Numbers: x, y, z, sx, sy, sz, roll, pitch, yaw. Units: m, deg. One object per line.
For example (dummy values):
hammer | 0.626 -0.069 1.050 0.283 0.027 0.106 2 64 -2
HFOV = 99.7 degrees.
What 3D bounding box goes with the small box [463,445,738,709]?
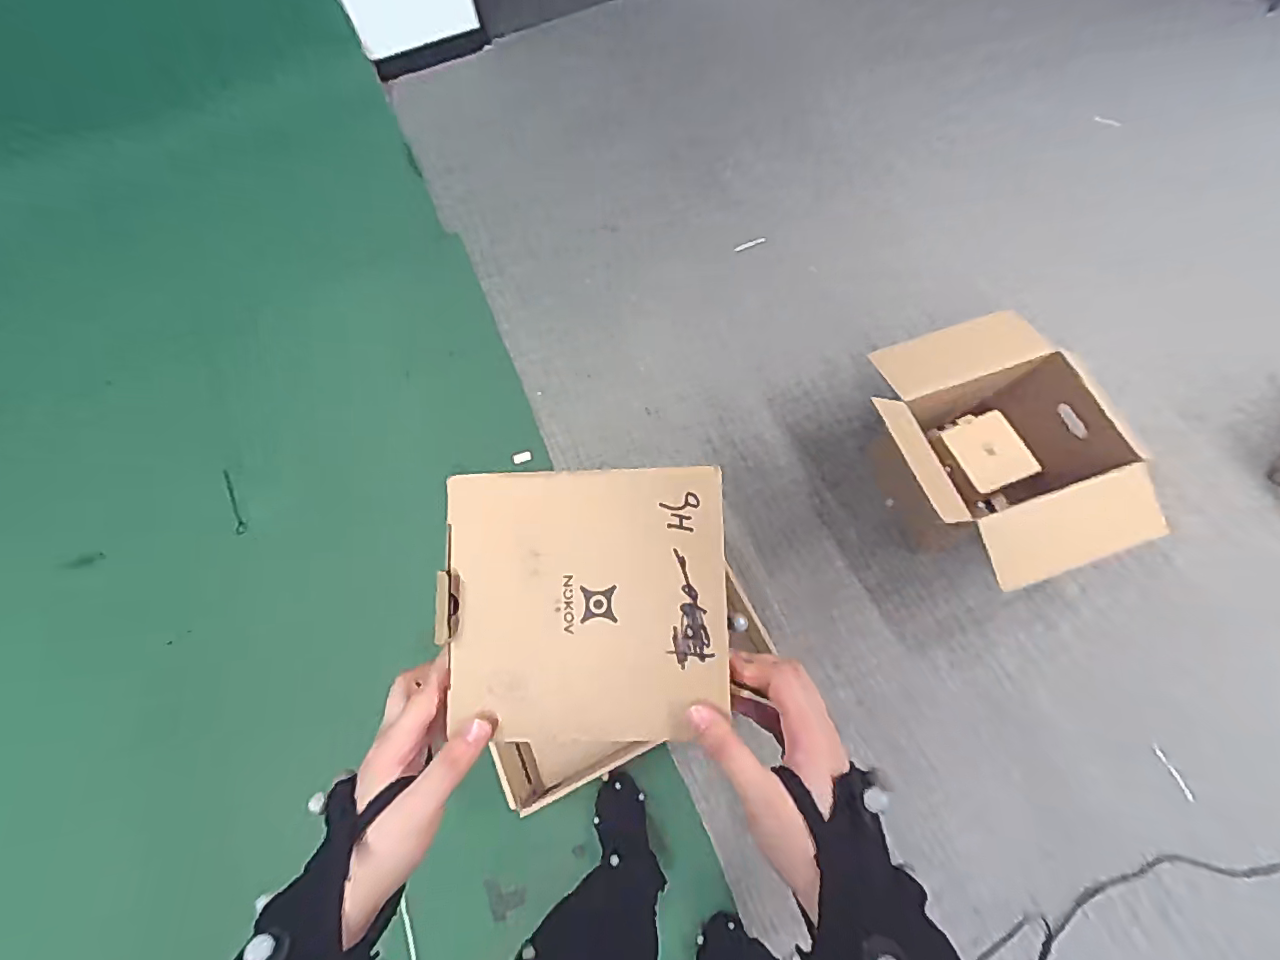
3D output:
small box | -0.020 0.068 0.423 0.179 0.176 0.168 -2 84 4
